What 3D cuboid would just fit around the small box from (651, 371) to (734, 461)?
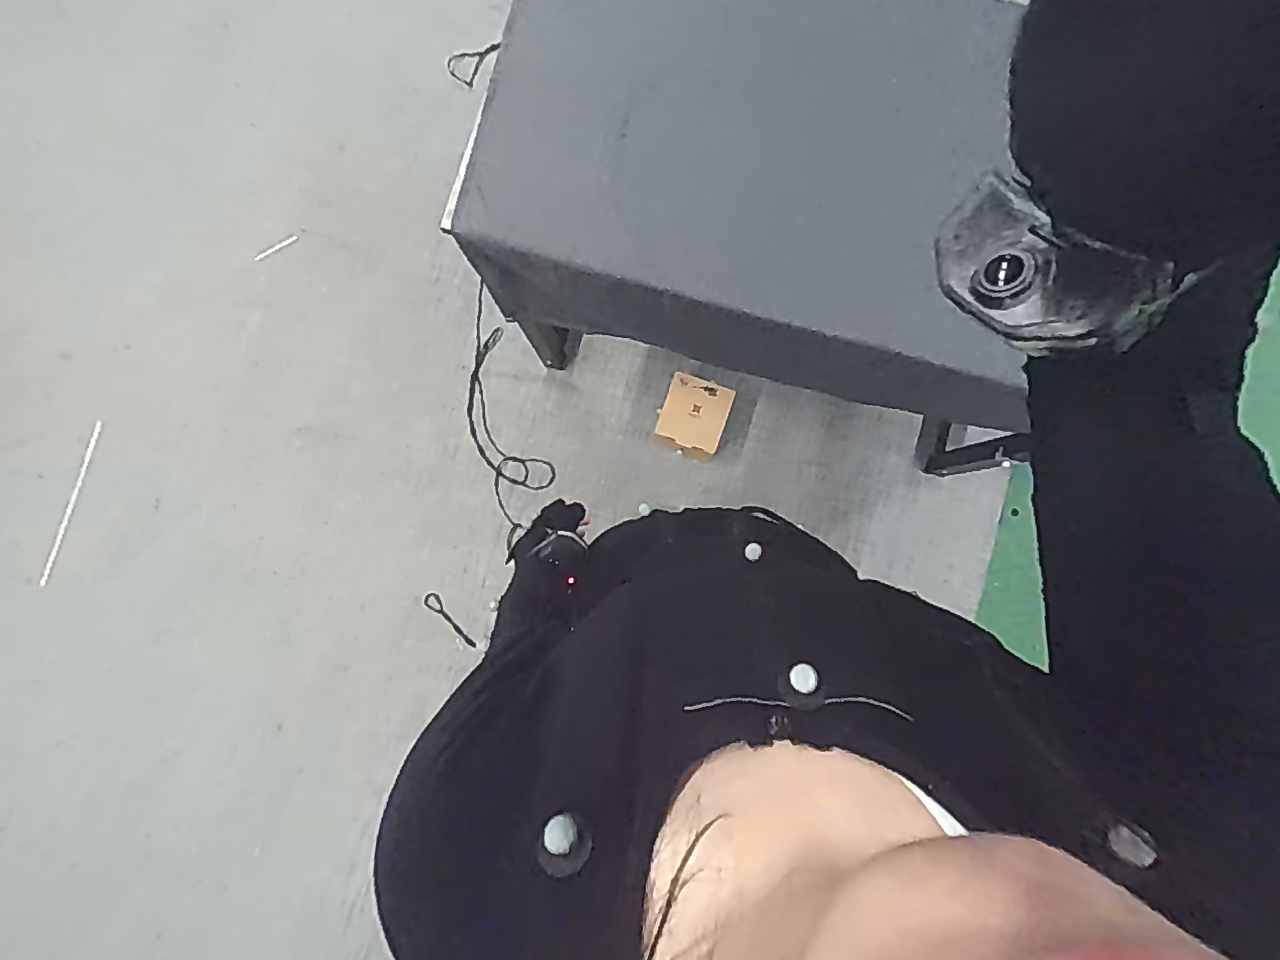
[{"bbox_3d":[0.136,-0.161,1.435,0.168,0.176,0.179,20,85,2],"label":"small box"}]
